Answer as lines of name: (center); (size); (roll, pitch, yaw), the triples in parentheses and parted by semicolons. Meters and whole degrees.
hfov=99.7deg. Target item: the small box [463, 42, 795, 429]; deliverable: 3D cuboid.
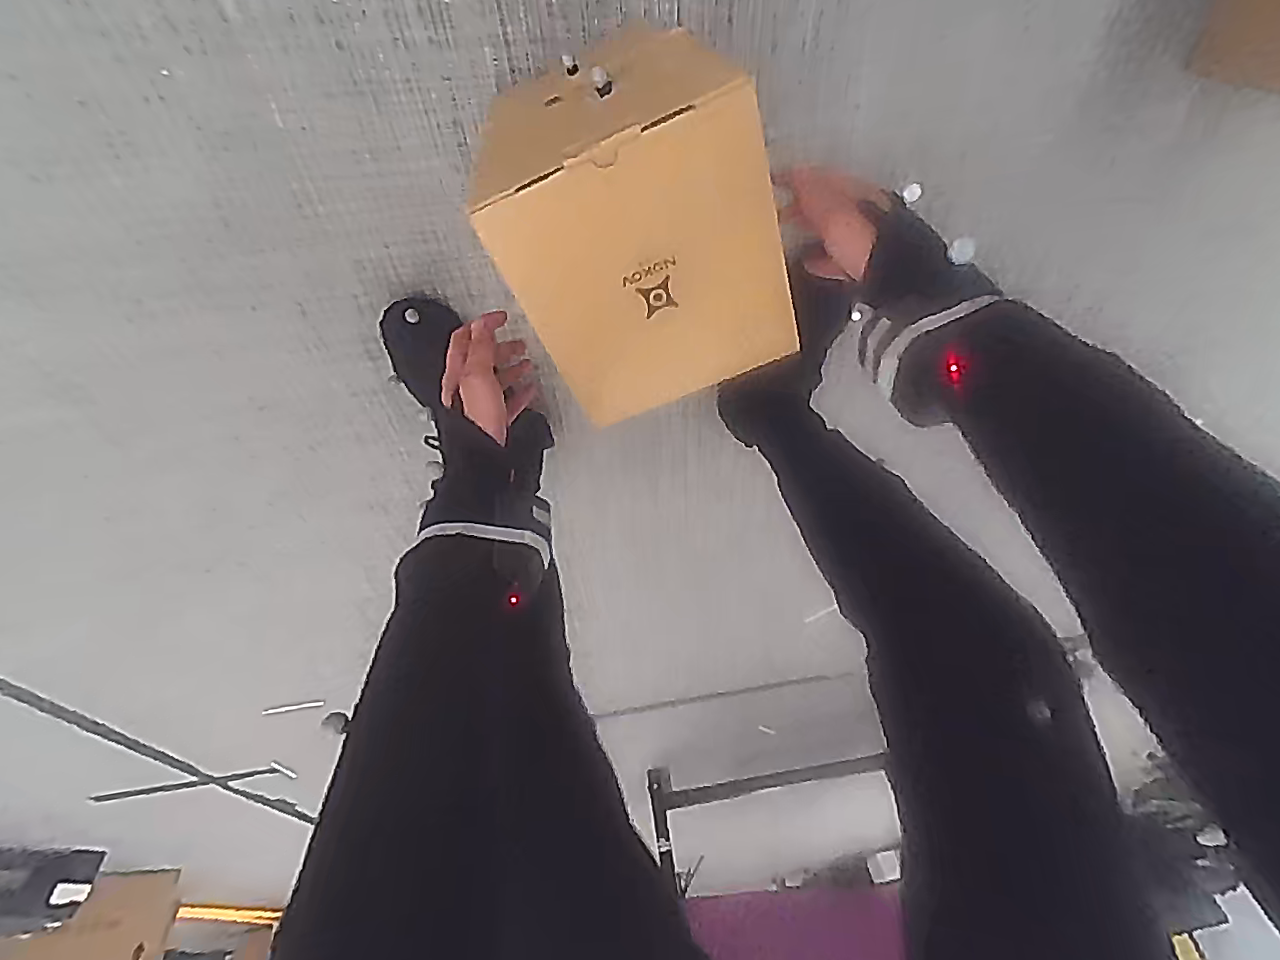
small box: (-0.003, -0.174, 0.395); (0.168, 0.176, 0.179); (-21, 135, 9)

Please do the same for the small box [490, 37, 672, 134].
small box: (-0.031, -0.283, 0.513); (0.168, 0.176, 0.179); (-21, 136, 10)
